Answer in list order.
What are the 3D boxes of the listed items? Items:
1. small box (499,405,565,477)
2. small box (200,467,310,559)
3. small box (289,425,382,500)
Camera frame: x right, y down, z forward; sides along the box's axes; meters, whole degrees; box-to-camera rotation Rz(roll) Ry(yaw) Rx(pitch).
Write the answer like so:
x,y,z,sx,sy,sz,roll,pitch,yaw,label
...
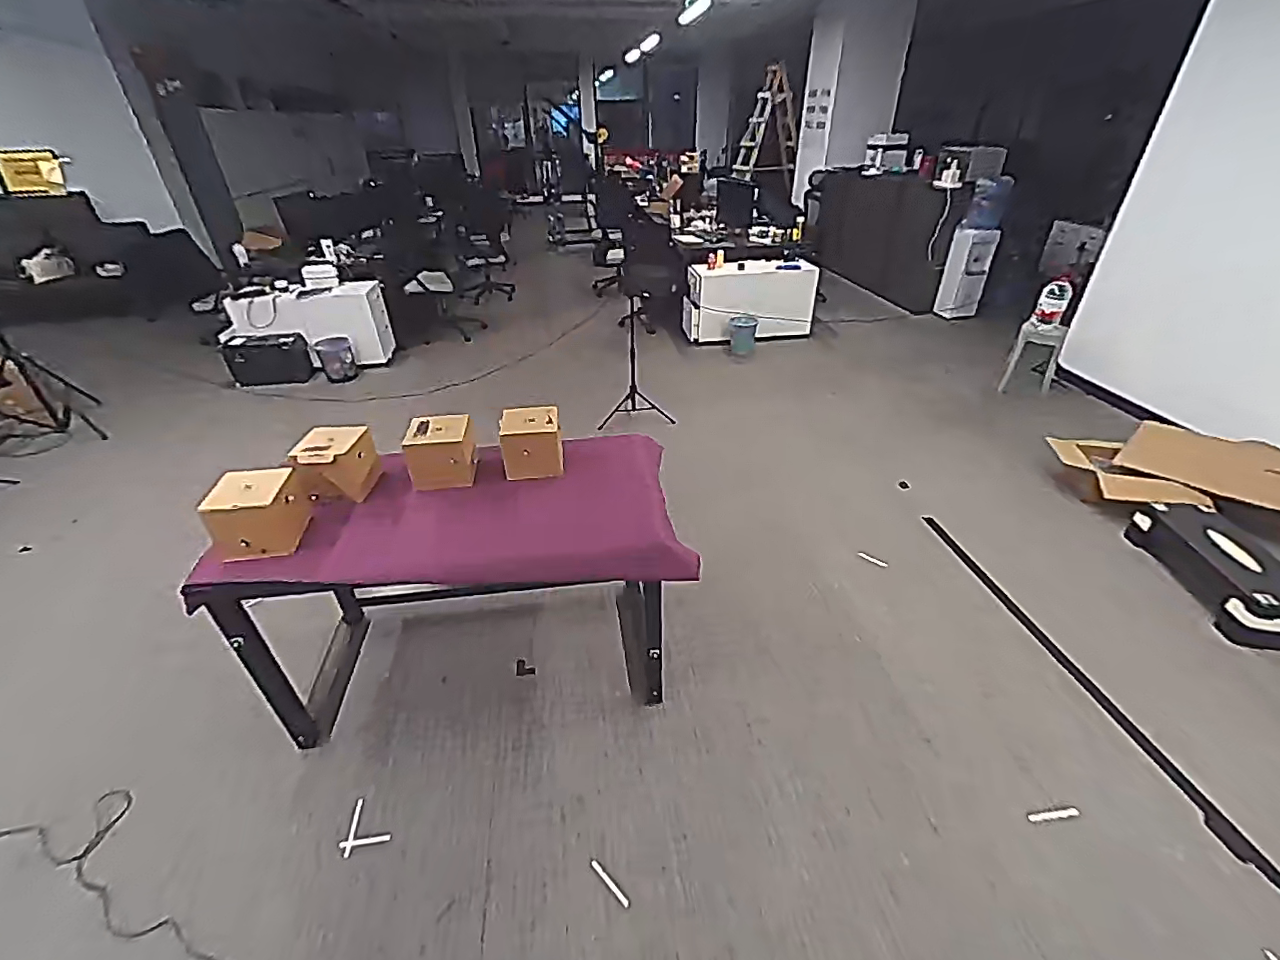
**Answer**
x,y,z,sx,sy,sz,roll,pitch,yaw,label
-0.338,-0.122,1.719,0.179,0.176,0.168,-5,36,-5,small box
-1.003,0.086,1.428,0.168,0.176,0.179,-6,35,-10,small box
-0.906,-0.049,1.631,0.168,0.176,0.179,-1,34,-1,small box
